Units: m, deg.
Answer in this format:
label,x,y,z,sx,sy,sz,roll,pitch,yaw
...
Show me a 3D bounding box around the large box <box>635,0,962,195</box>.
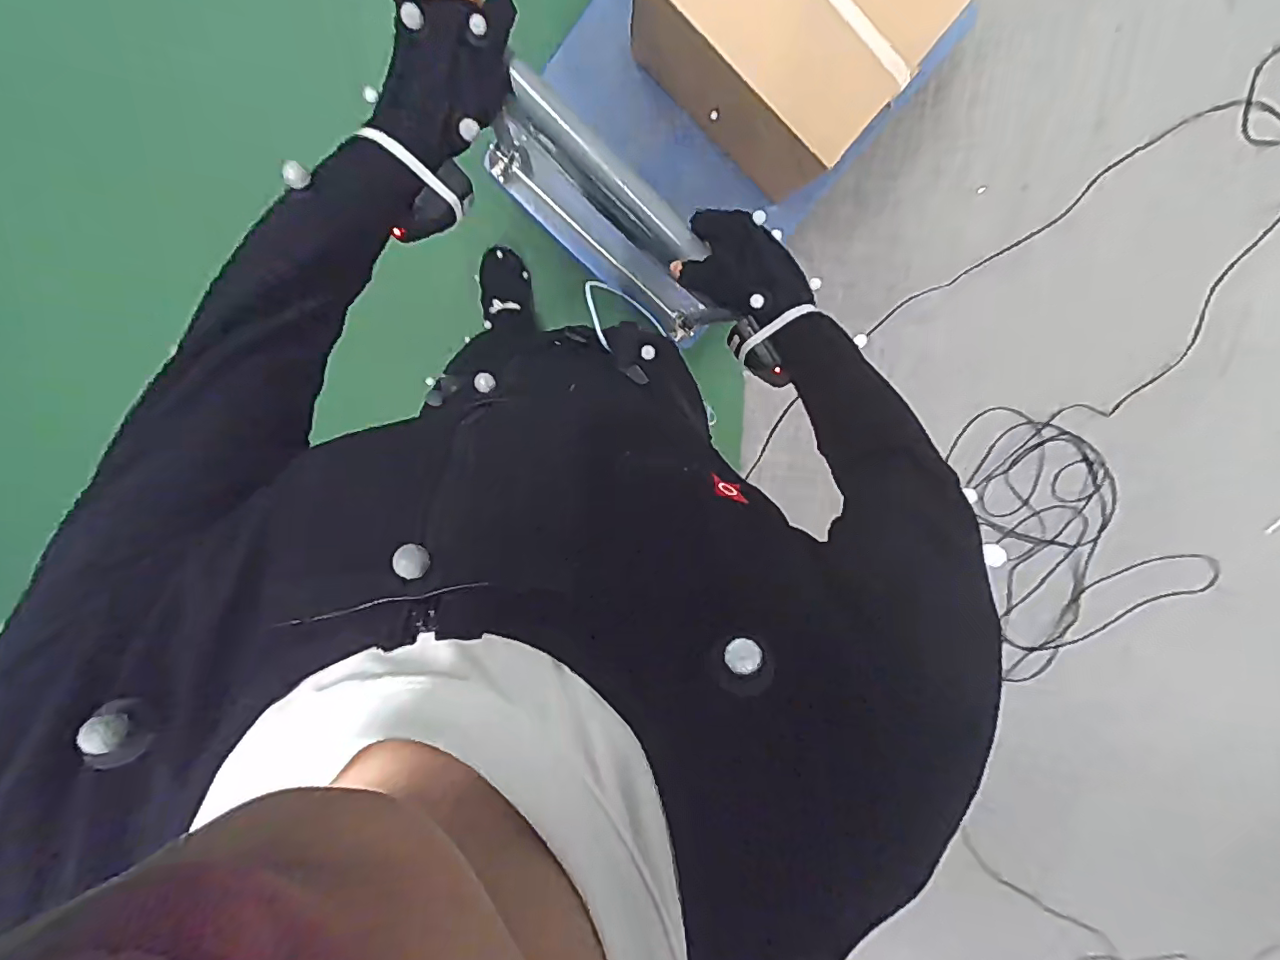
label,x,y,z,sx,sy,sz,roll,pitch,yaw
large box,0.240,-0.775,0.923,0.408,0.320,0.320,38,102,-13
